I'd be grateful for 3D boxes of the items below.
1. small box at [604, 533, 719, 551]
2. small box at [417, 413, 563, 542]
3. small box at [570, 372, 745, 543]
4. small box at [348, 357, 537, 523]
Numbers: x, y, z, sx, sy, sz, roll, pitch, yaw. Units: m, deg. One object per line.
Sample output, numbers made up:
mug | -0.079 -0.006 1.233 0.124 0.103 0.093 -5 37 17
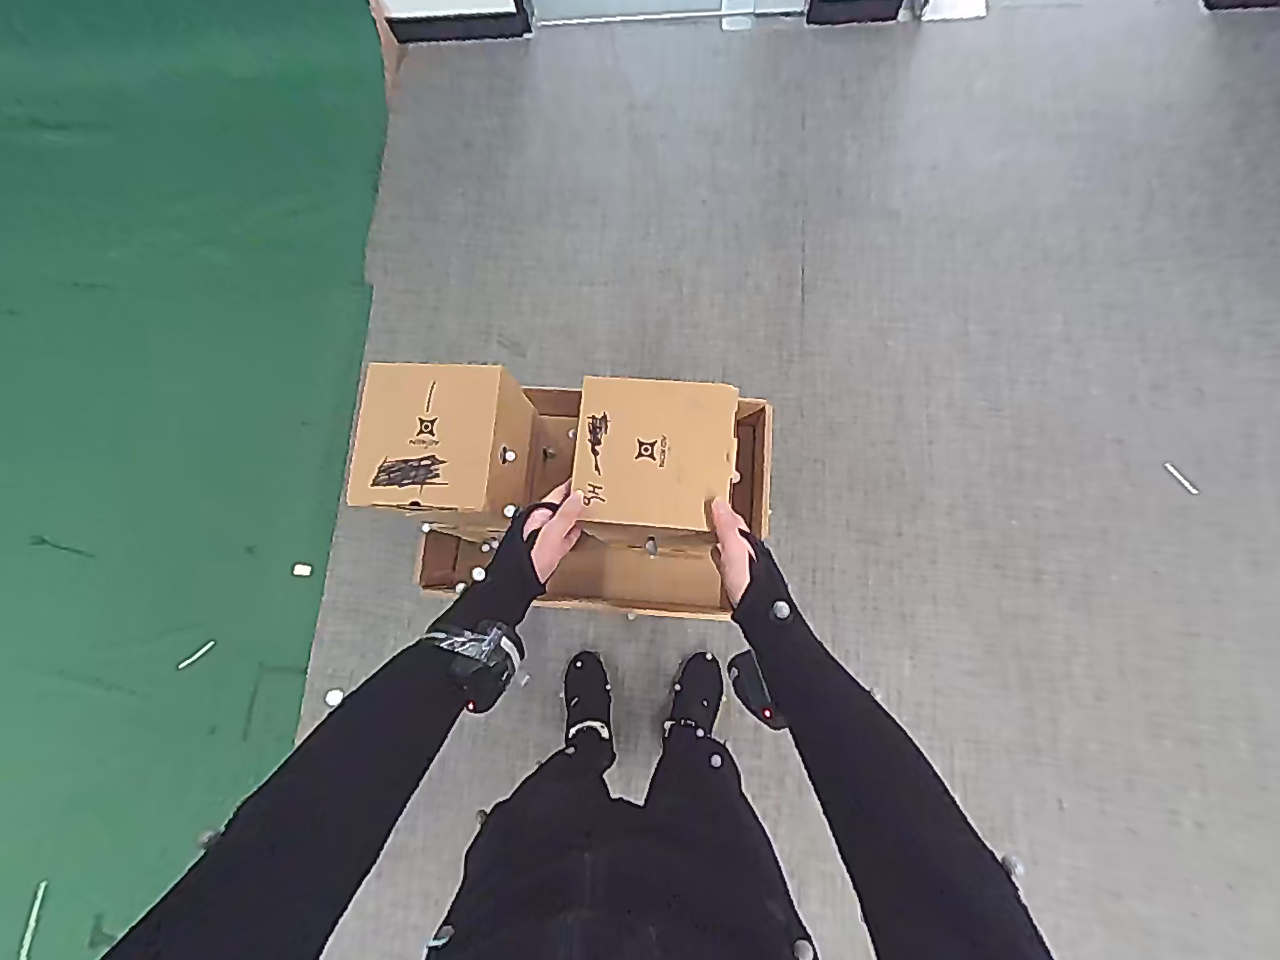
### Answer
small box | 0.036 0.018 0.835 0.179 0.176 0.168 6 81 4
small box | -0.223 -0.002 0.854 0.168 0.176 0.179 4 79 5
small box | 0.022 -0.016 0.662 0.179 0.176 0.168 6 78 3
small box | -0.238 -0.042 0.695 0.168 0.176 0.179 3 78 4
